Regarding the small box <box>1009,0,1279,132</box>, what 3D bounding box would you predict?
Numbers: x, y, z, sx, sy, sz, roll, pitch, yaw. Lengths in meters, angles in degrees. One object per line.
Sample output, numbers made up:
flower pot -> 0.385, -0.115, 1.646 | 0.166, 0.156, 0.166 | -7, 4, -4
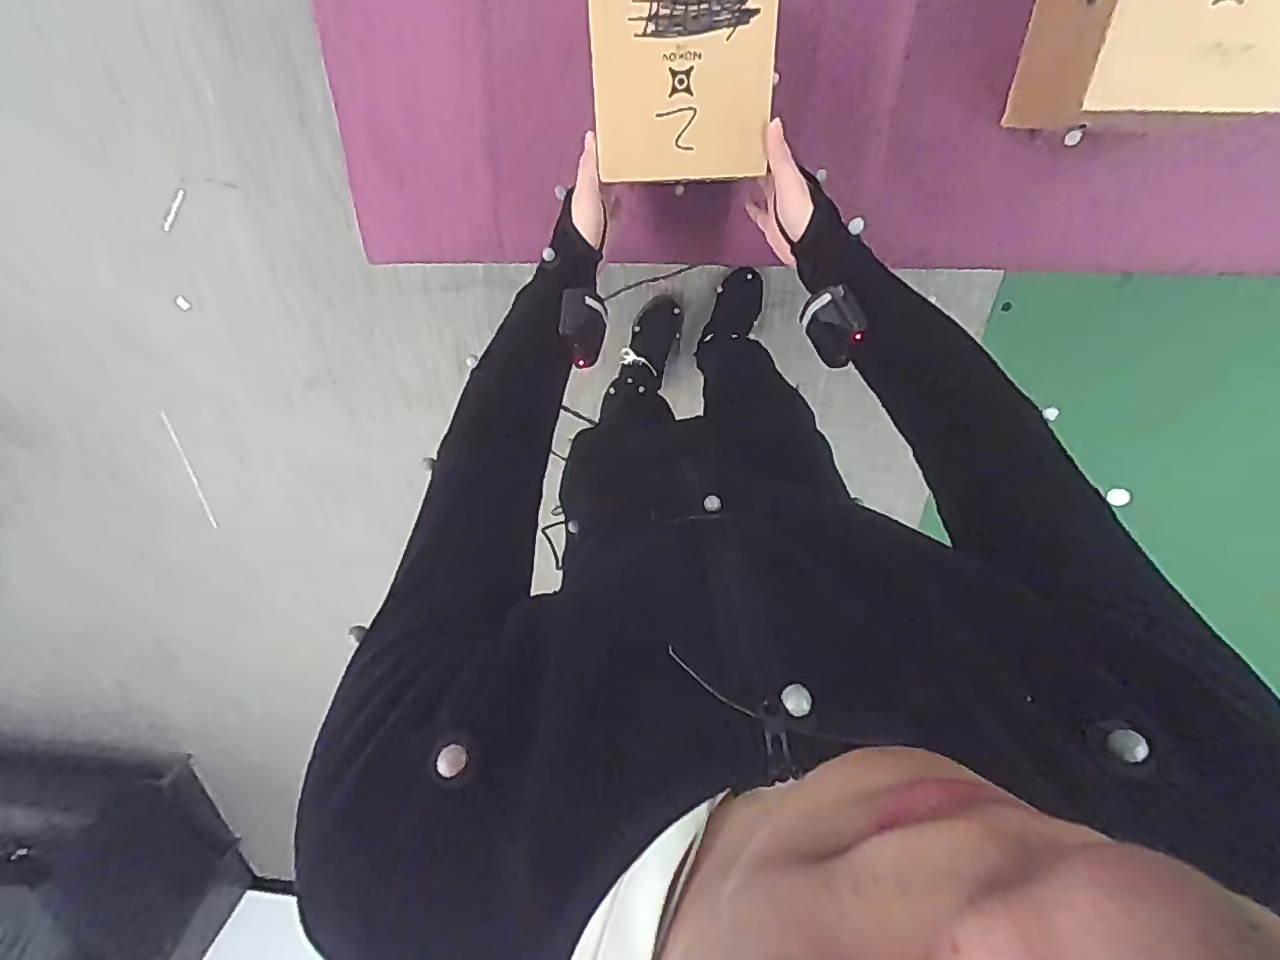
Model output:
small box -> 0.480, -0.434, 0.493 | 0.168, 0.176, 0.179 | 6, 118, 6

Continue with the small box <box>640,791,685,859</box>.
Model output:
small box -> 0.094, 1.389, 2.184 | 0.168, 0.176, 0.179 | 1, 120, 9
